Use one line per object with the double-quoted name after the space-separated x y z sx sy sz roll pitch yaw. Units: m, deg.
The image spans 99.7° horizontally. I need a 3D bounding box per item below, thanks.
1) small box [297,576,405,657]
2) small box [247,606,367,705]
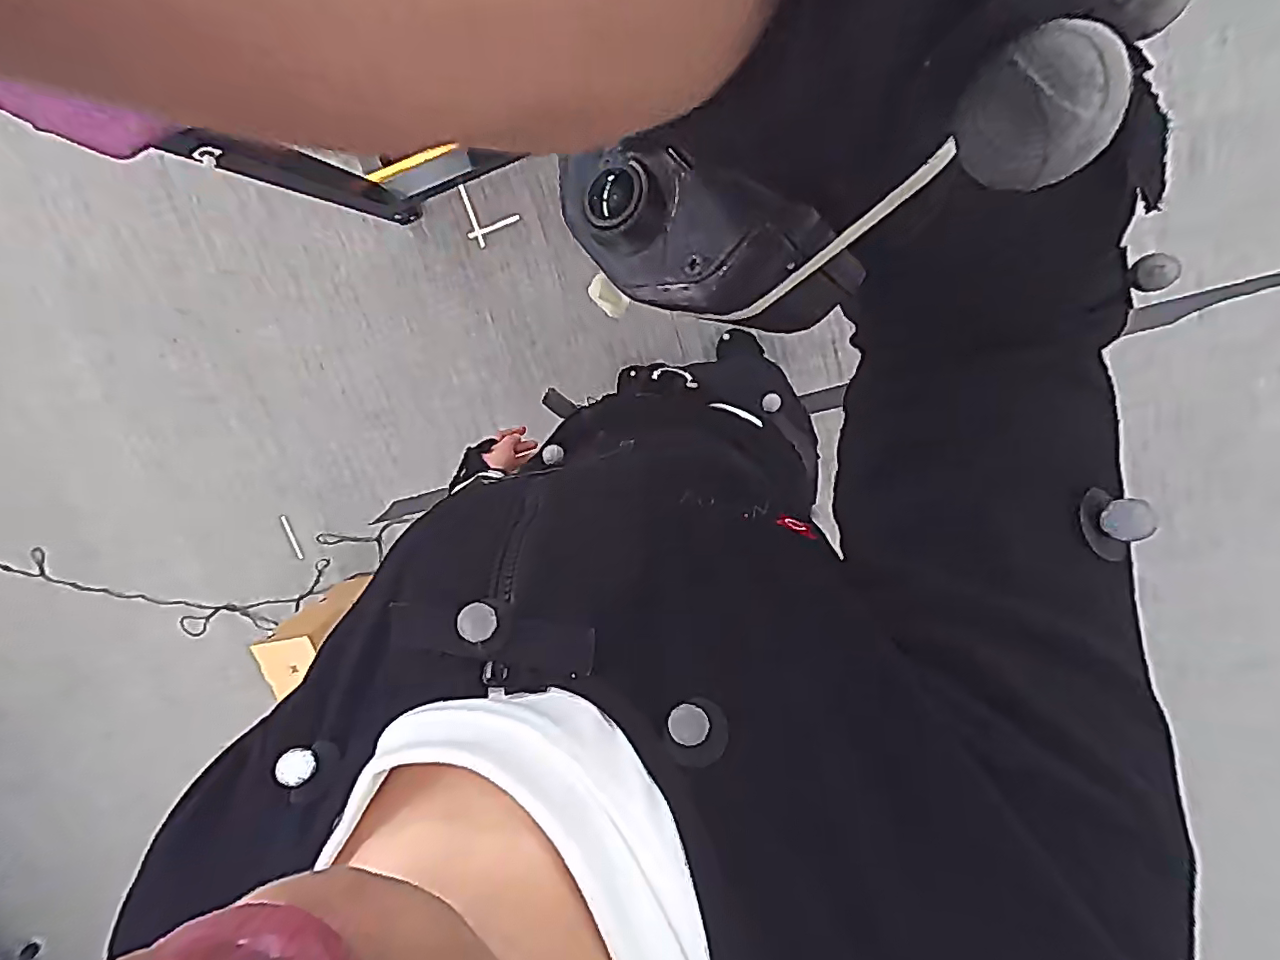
-0.809 0.392 1.530 0.179 0.176 0.168 -13 105 12 "small box"
-0.832 0.441 1.377 0.179 0.176 0.168 -13 105 13 "small box"
